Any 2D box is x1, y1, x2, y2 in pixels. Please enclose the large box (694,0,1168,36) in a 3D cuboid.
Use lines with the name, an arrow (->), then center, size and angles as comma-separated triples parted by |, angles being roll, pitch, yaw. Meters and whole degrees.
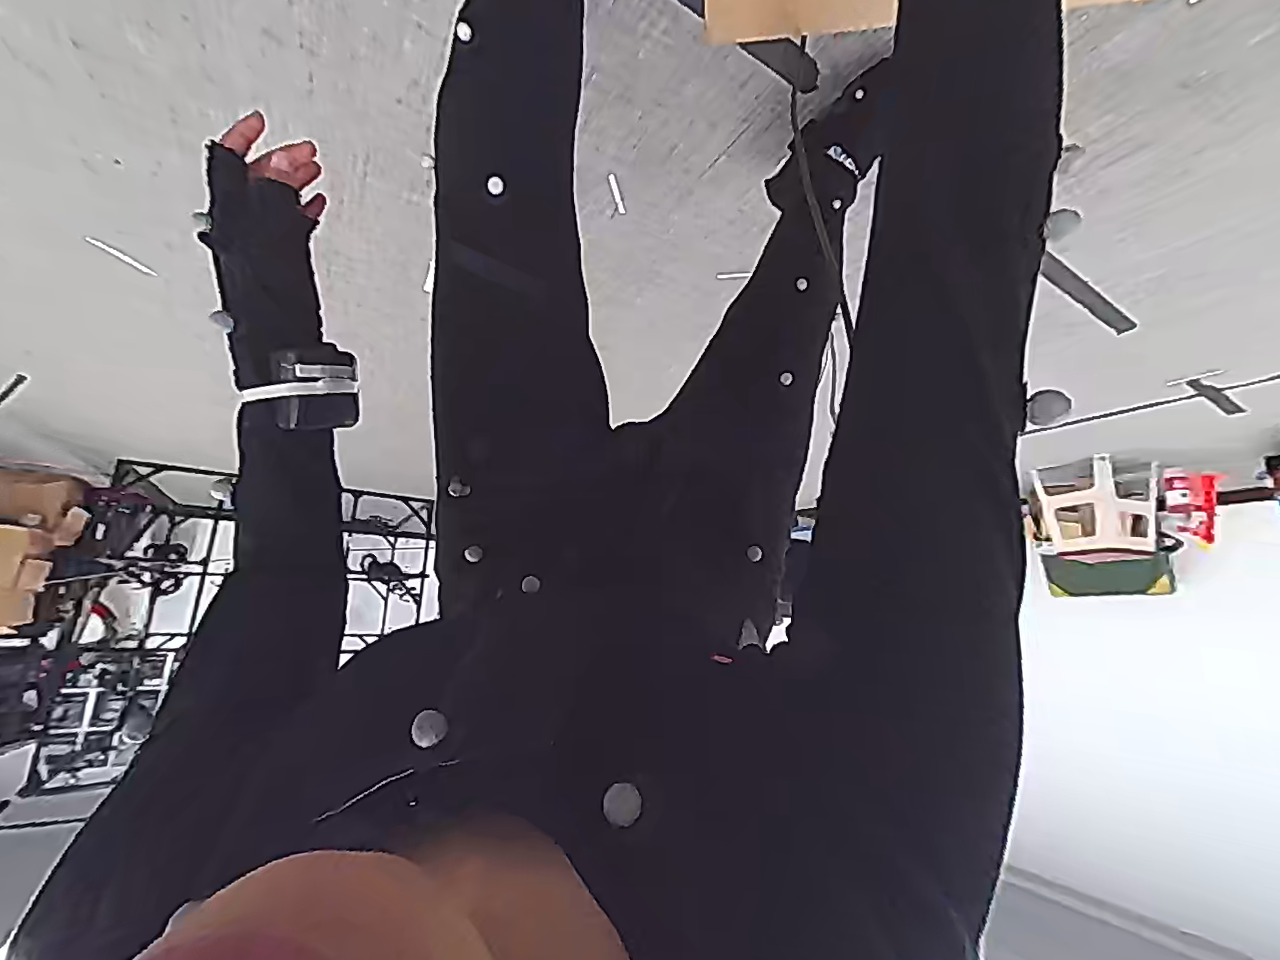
large box -> 0.242, -0.579, 0.362 | 0.408, 0.320, 0.320 | 3, 174, 8
